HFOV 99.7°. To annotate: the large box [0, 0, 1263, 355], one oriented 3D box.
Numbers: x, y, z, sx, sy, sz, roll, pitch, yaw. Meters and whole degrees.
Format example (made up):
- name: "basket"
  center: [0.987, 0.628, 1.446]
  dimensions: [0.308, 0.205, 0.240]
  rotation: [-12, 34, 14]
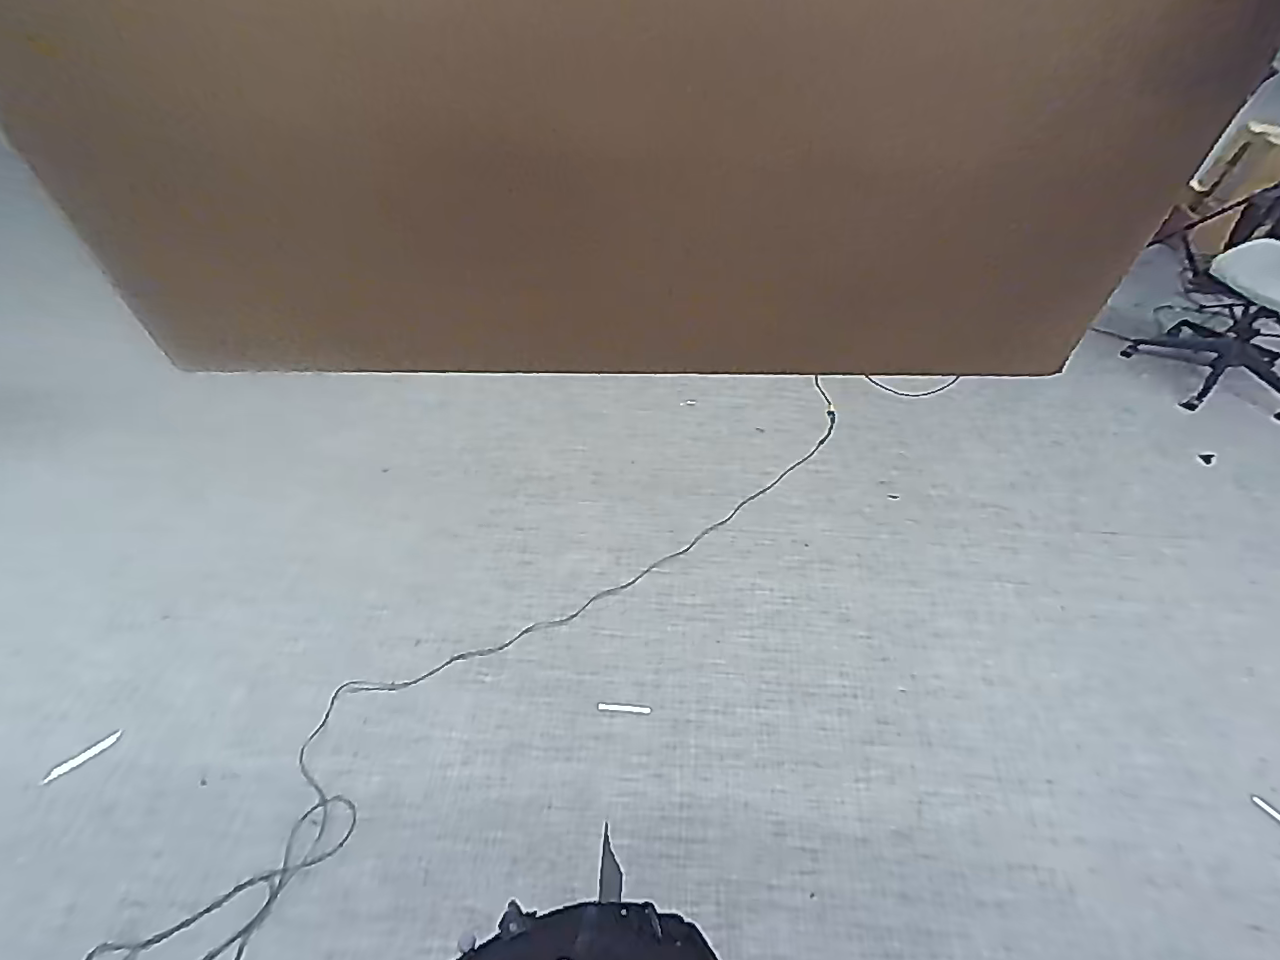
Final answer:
- name: "large box"
  center: [-0.007, -0.269, 0.246]
  dimensions: [0.408, 0.320, 0.320]
  rotation: [1, 47, 0]
